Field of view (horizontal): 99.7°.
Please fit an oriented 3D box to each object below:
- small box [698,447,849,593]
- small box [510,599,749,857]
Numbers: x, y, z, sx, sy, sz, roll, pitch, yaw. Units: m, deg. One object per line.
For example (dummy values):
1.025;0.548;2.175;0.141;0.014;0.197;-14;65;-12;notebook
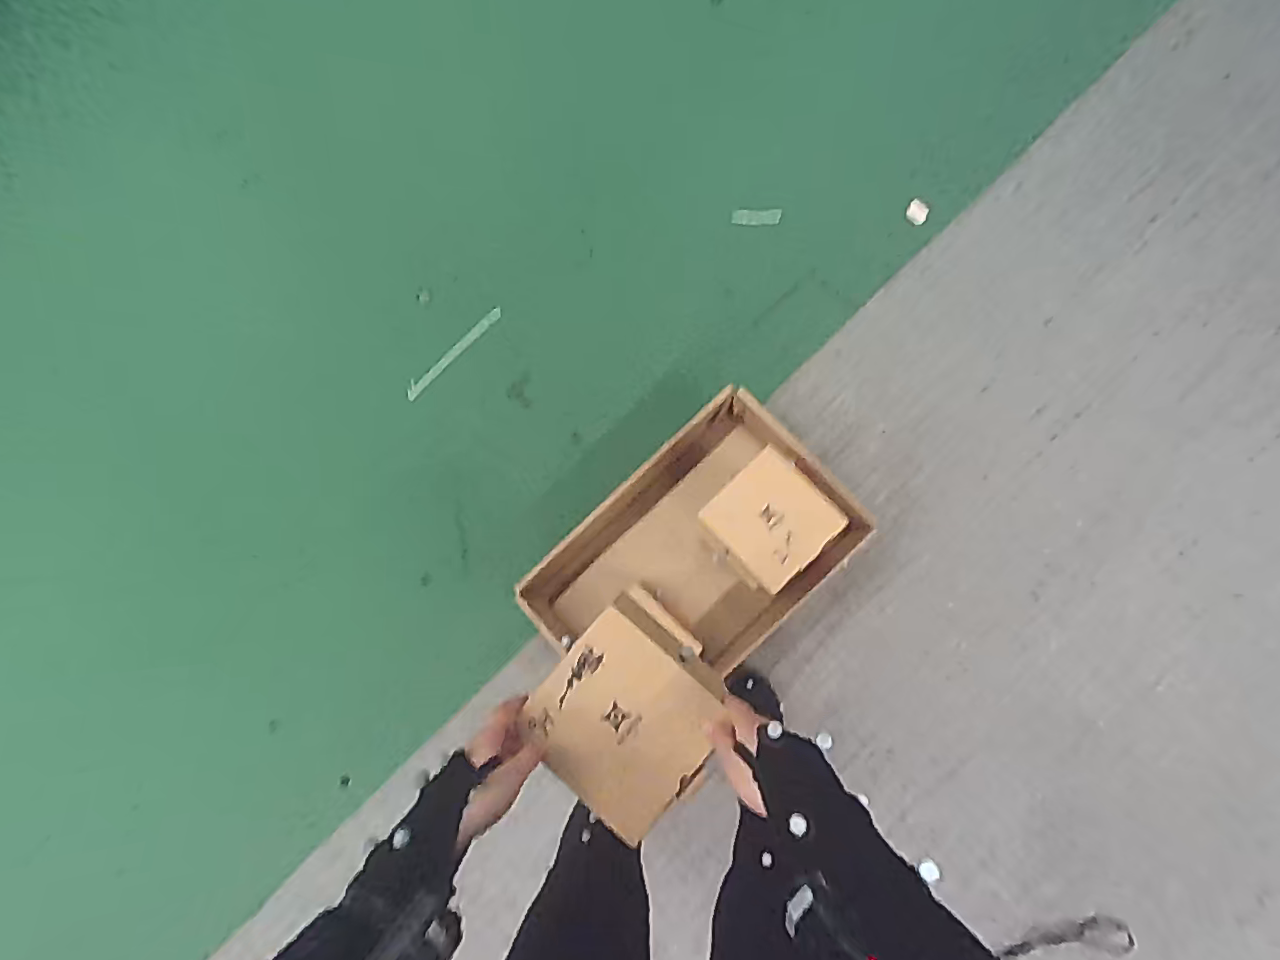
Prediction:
0.215;0.073;0.921;0.168;0.176;0.179;-44;80;0;small box
-0.008;0.250;0.602;0.179;0.176;0.168;40;86;5;small box
